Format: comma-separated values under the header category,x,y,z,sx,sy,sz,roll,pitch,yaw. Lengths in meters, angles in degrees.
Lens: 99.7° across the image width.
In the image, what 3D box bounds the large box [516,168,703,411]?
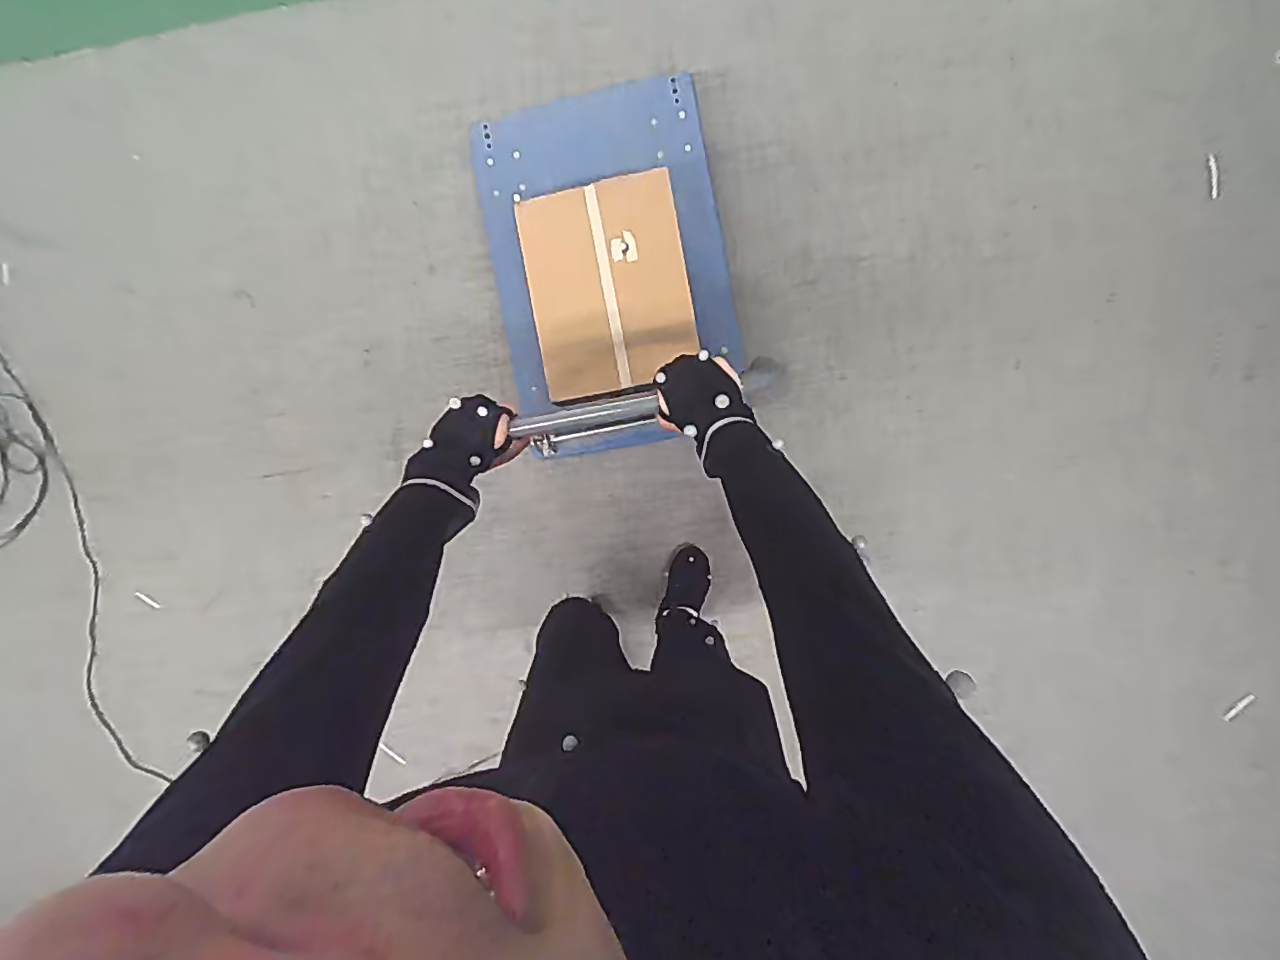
category,x,y,z,sx,sy,sz,roll,pitch,yaw
large box,-0.047,-0.390,1.210,0.320,0.320,0.408,-10,92,5
